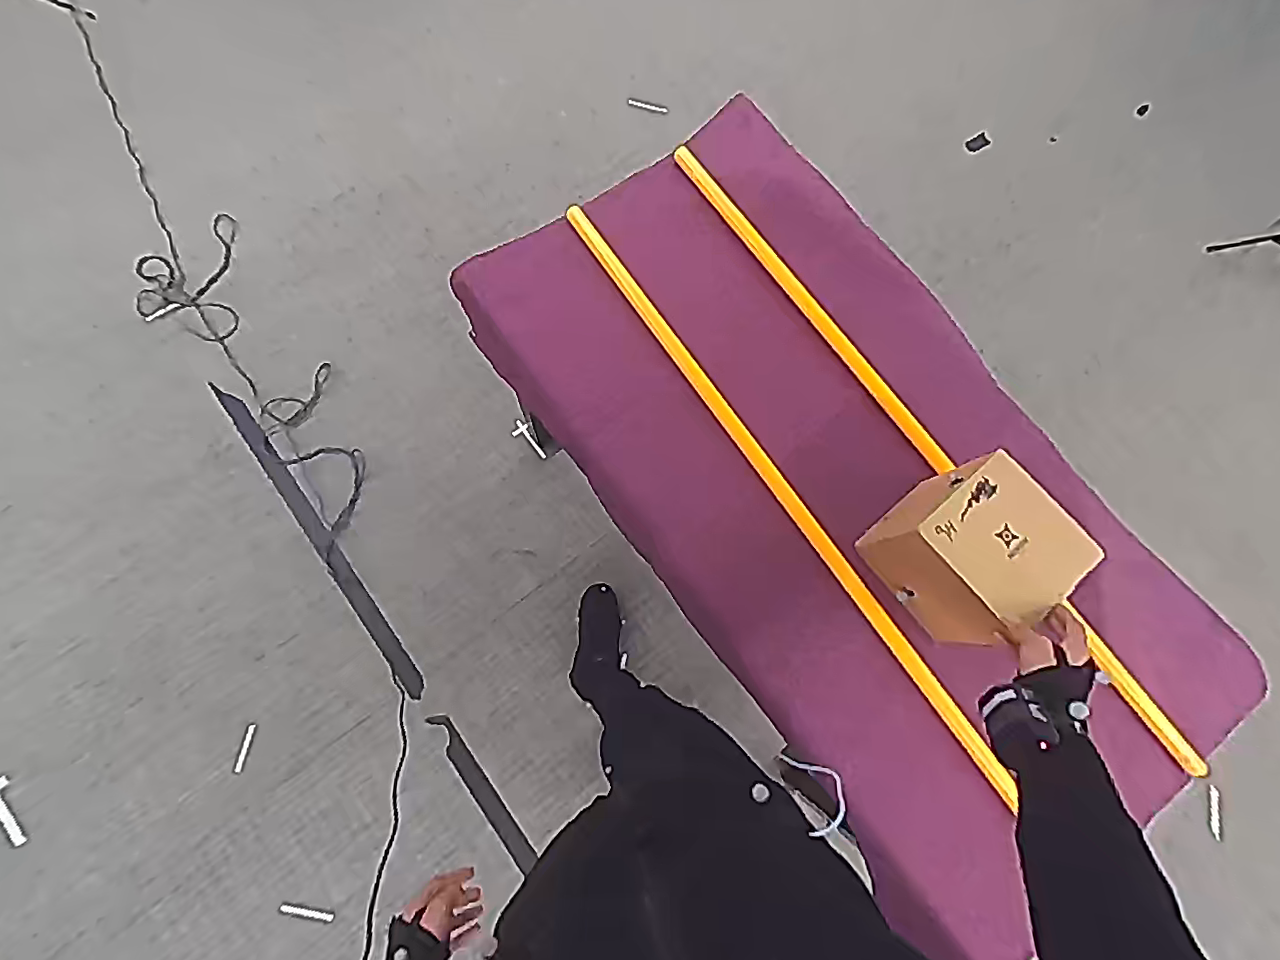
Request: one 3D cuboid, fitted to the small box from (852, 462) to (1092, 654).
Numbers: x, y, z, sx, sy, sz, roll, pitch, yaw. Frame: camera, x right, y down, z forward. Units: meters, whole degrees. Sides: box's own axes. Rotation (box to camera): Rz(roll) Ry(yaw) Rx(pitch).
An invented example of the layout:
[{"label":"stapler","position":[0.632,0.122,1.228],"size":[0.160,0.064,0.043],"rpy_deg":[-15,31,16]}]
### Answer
[{"label":"small box","position":[0.431,0.106,0.731],"size":[0.168,0.176,0.179],"rpy_deg":[-38,82,-12]}]
